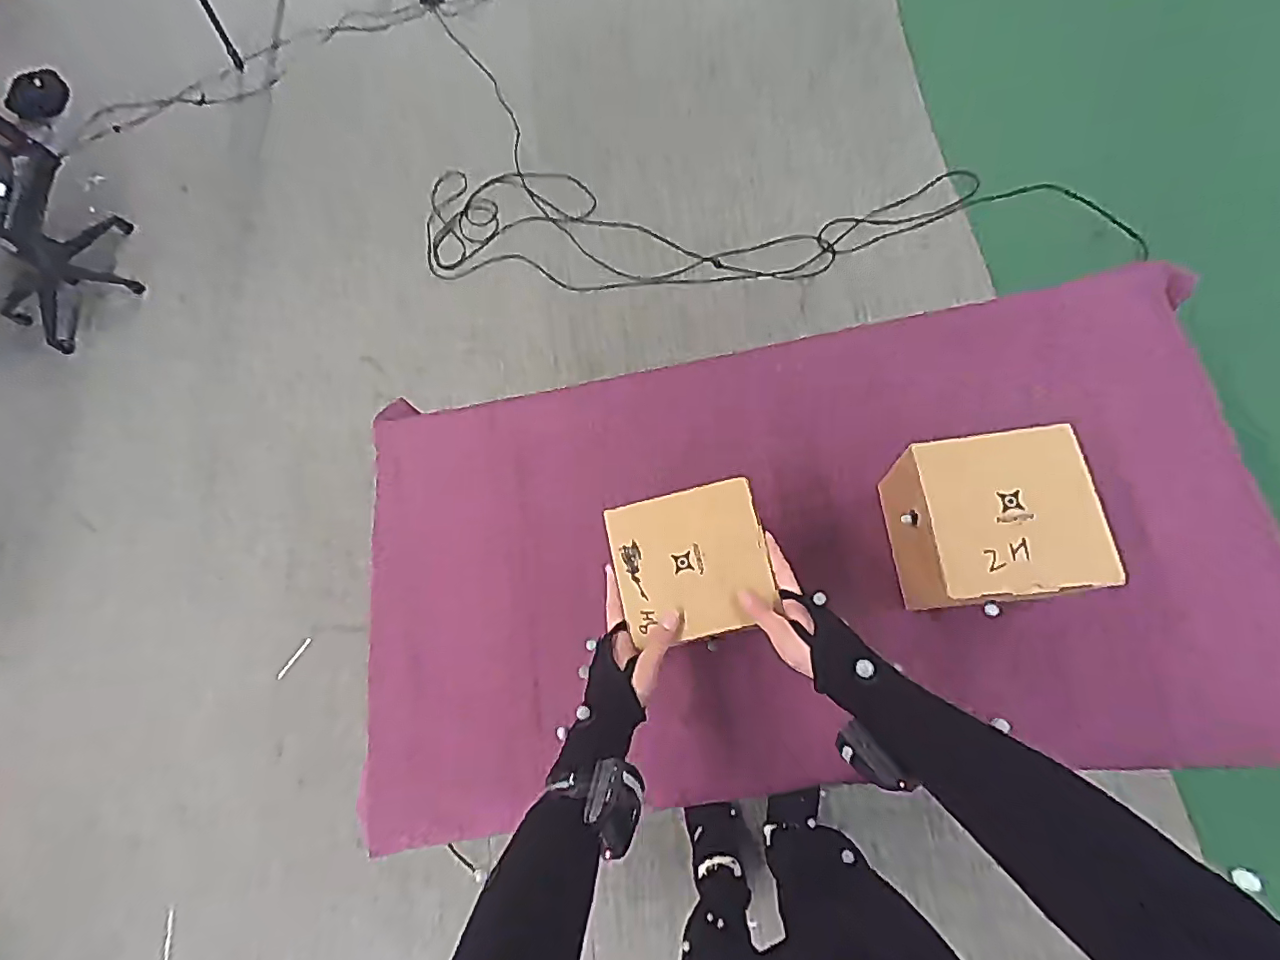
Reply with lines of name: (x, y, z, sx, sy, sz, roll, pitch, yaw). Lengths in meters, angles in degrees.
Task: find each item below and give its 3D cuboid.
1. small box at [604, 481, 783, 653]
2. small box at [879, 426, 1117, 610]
small box: (0.066, 0.116, 0.683, 0.179, 0.176, 0.168, -14, 71, 5)
small box: (0.401, 0.055, 0.647, 0.168, 0.176, 0.179, -8, 72, 10)
